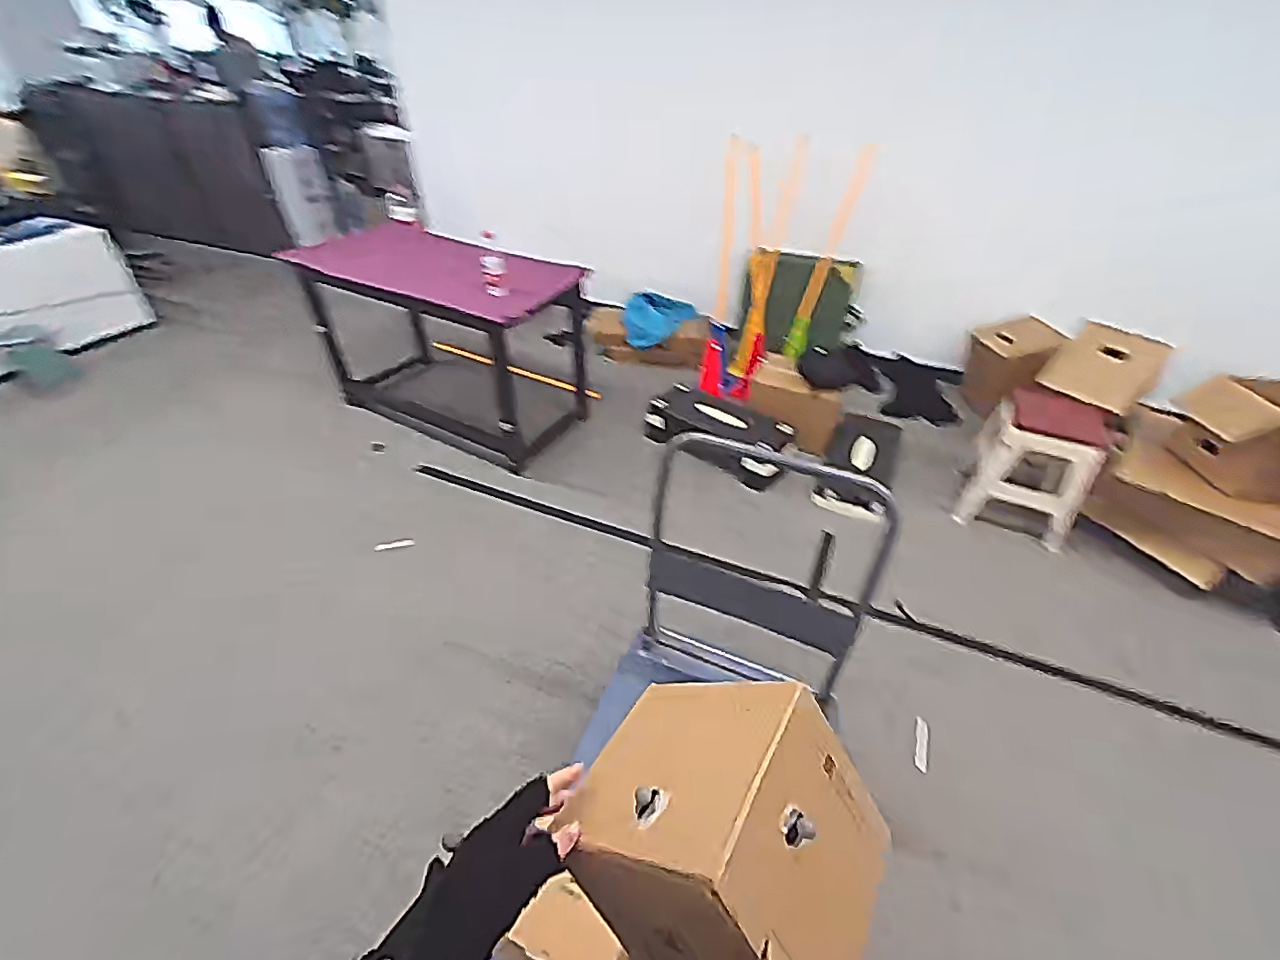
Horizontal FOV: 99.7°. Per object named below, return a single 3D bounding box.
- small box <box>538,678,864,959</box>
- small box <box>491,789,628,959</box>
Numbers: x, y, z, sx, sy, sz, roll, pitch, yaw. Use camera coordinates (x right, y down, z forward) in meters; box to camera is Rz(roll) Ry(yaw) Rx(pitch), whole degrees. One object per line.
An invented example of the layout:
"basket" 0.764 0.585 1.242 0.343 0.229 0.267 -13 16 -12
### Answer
"small box" 0.060 0.280 0.436 0.179 0.168 0.176 -21 15 43
"small box" -0.082 0.582 0.753 0.168 0.176 0.179 17 42 17
